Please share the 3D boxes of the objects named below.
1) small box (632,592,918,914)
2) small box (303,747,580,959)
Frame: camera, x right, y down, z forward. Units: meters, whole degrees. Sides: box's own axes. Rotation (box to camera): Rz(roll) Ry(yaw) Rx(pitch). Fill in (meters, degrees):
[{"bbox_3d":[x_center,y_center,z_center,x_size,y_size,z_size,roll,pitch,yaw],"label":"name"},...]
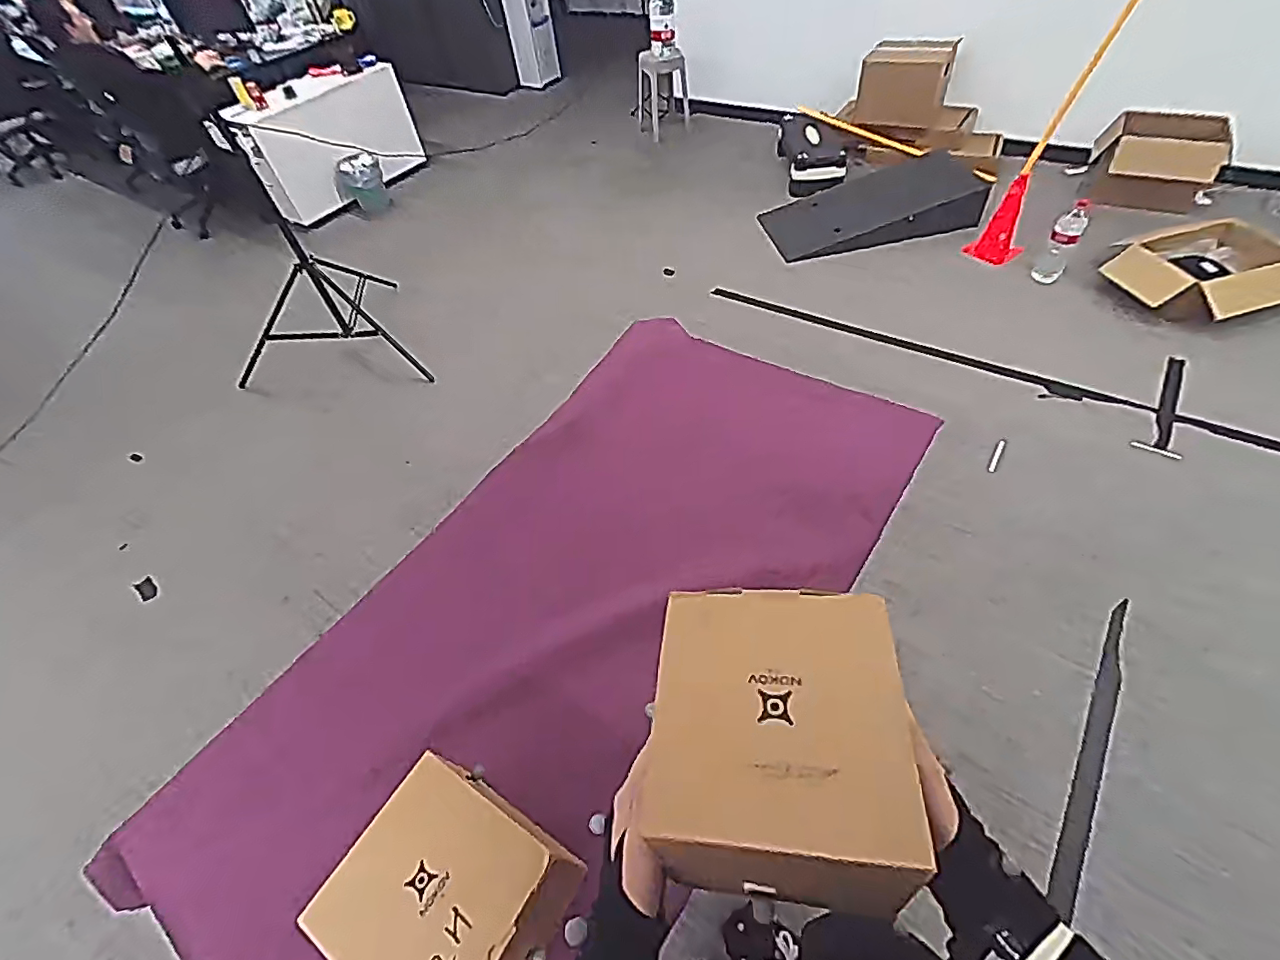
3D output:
[{"bbox_3d":[0.100,0.209,0.425,0.168,0.176,0.179,-3,45,14],"label":"small box"},{"bbox_3d":[-0.187,0.417,0.557,0.179,0.176,0.168,23,58,23],"label":"small box"}]
